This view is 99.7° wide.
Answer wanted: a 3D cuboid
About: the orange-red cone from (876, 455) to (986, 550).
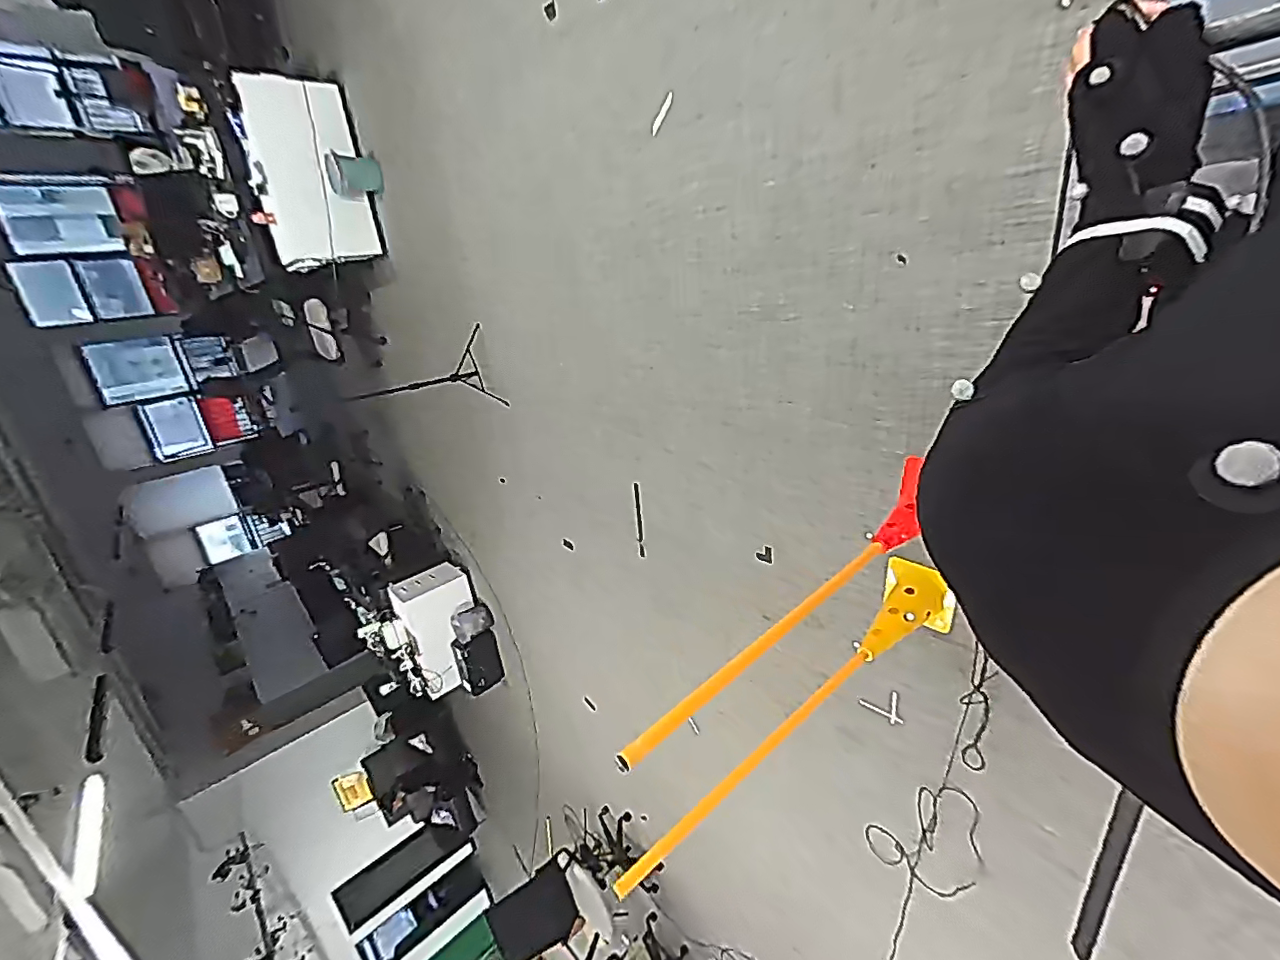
[{"bbox_3d":[0.703,0.092,1.389,0.198,0.360,0.199,25,126,41],"label":"orange-red cone"}]
